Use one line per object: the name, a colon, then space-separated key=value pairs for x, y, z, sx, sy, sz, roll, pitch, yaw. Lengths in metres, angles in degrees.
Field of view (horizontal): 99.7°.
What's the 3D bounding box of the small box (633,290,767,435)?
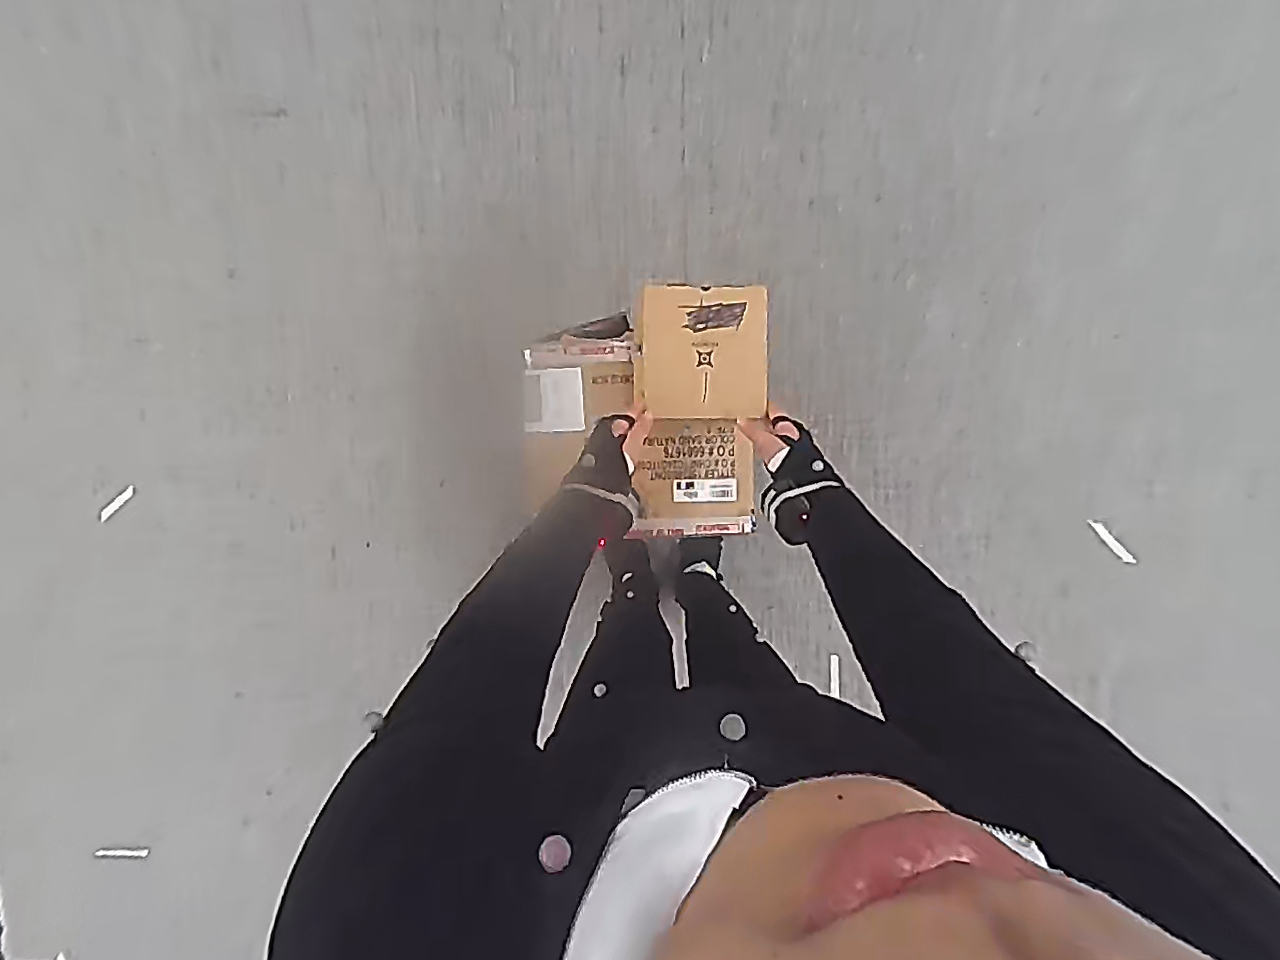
small box: x=0.077 y=-0.159 z=0.781 sx=0.168 sy=0.176 sz=0.179 roll=-1 pitch=91 yaw=-5
